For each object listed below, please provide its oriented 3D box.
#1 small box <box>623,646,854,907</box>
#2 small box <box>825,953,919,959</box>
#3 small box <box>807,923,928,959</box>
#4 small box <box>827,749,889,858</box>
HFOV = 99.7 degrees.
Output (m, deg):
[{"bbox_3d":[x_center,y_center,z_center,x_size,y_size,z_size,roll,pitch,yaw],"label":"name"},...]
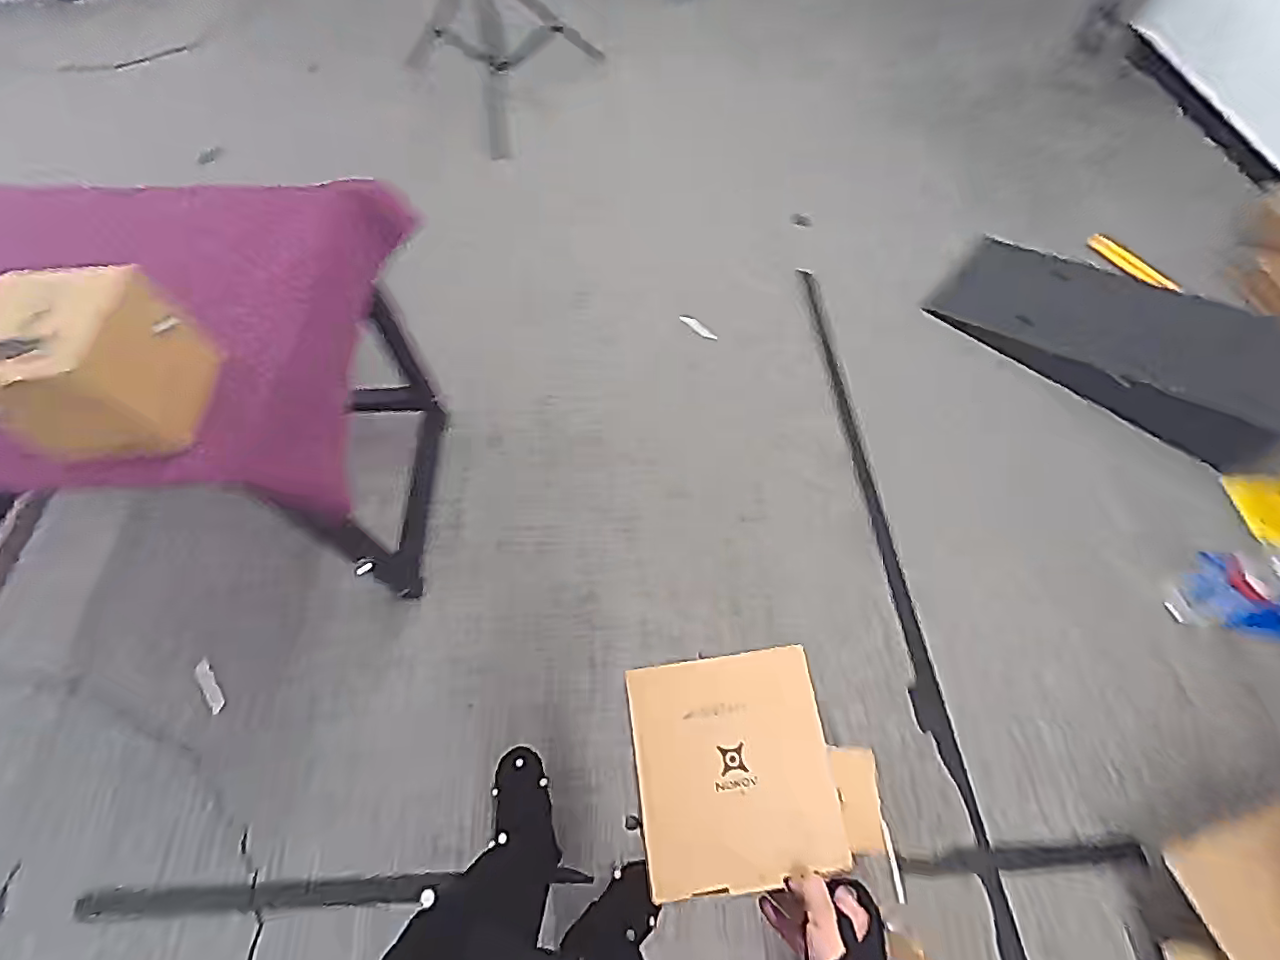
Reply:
[{"bbox_3d":[0.075,0.269,0.525,0.168,0.176,0.179,-7,67,-6],"label":"small box"},{"bbox_3d":[0.393,0.850,0.819,0.168,0.176,0.179,-1,63,0],"label":"small box"},{"bbox_3d":[0.411,0.921,0.967,0.179,0.176,0.168,-2,63,-2],"label":"small box"},{"bbox_3d":[0.384,0.654,1.109,0.168,0.176,0.179,3,63,1],"label":"small box"}]
